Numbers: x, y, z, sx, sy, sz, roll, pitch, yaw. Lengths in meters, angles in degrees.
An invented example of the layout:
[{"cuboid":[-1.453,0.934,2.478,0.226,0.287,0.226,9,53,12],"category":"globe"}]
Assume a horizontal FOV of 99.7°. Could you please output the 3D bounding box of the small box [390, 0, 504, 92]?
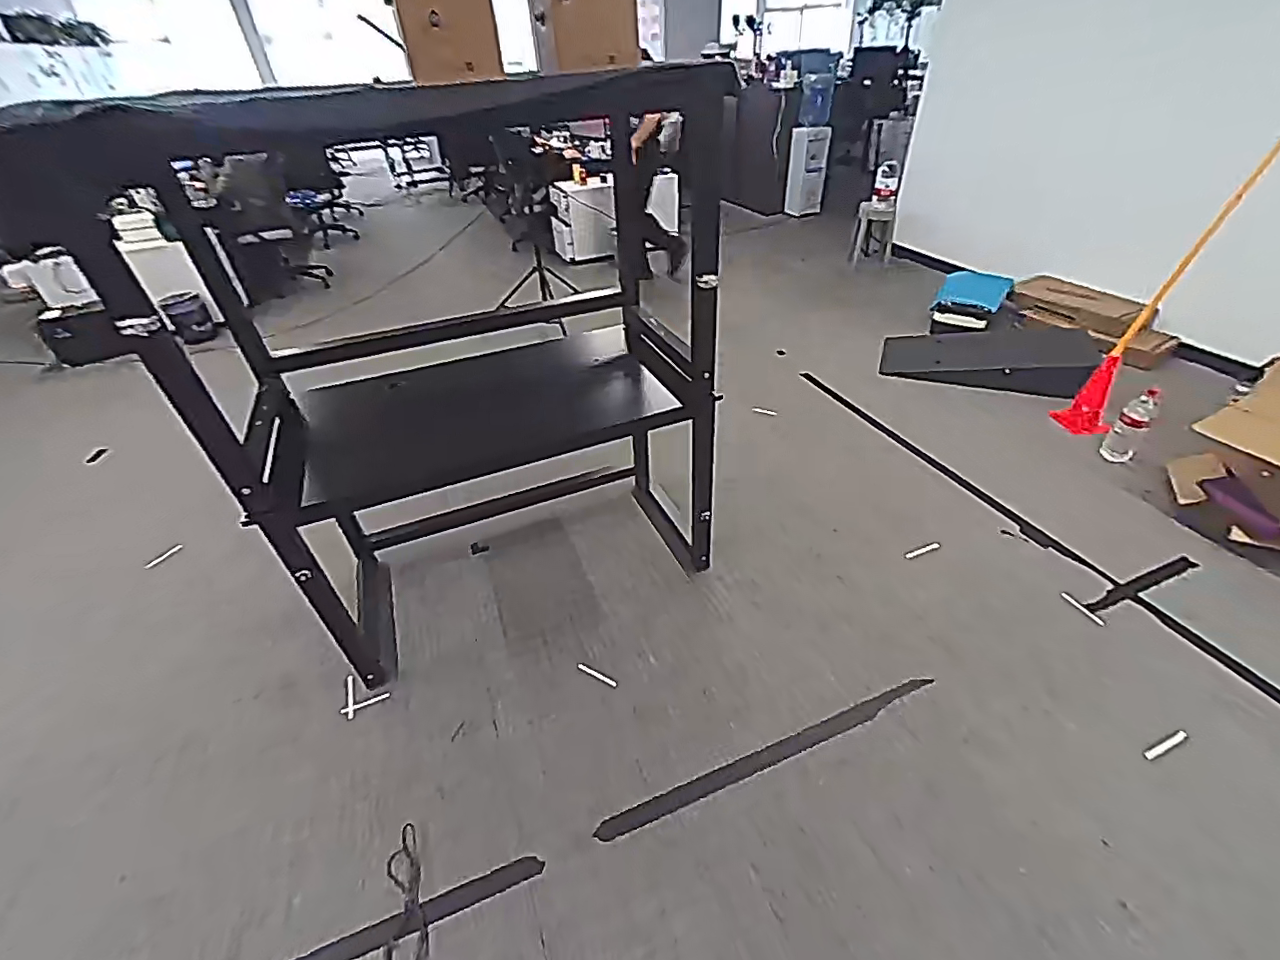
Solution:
[{"cuboid":[-0.358,-0.829,0.997,0.168,0.176,0.179,-15,38,-13],"category":"small box"}]
